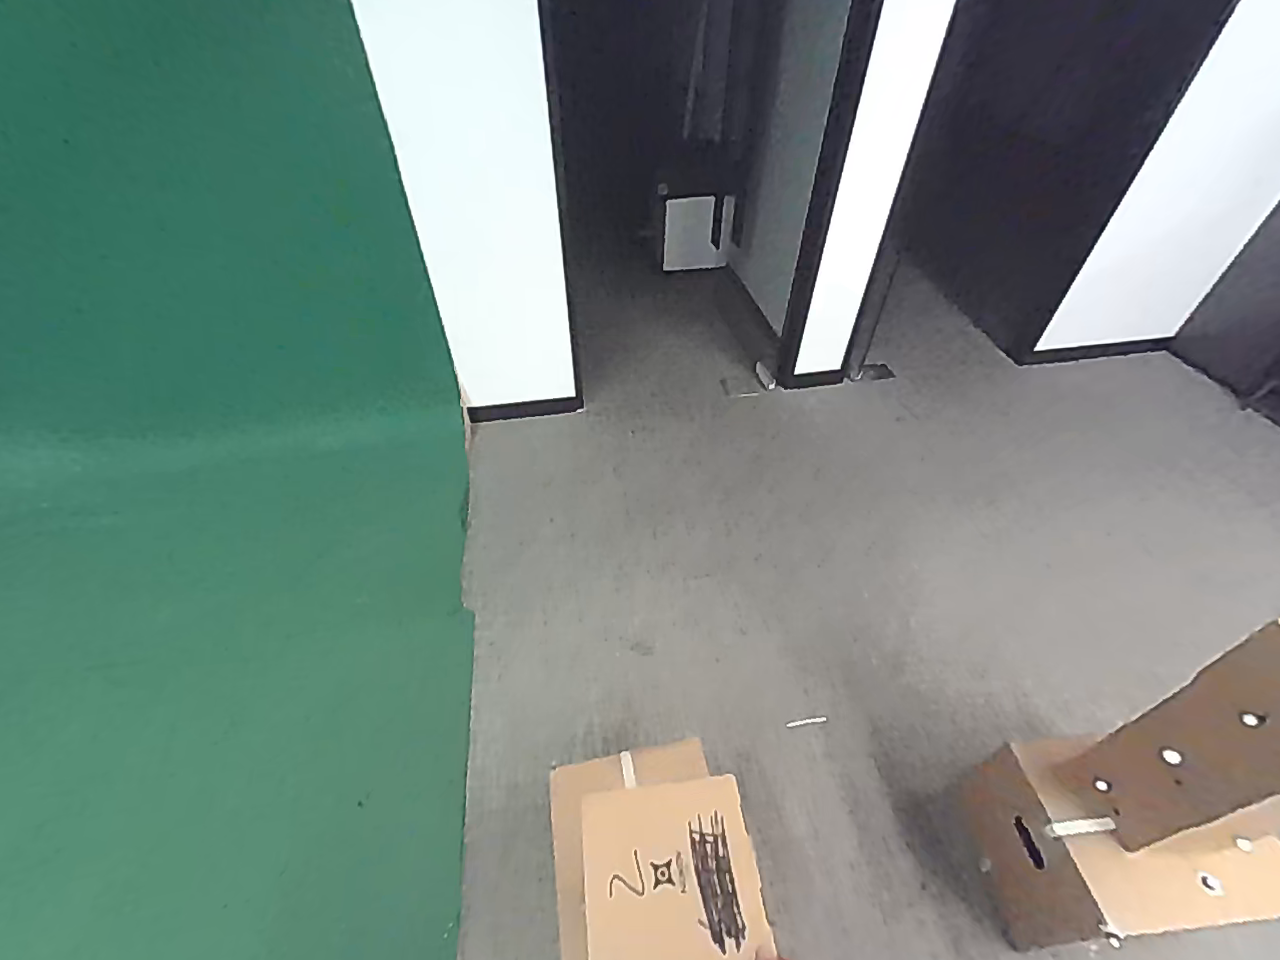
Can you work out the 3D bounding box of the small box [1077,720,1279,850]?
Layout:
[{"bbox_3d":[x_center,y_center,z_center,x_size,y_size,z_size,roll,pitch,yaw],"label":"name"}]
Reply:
[{"bbox_3d":[0.953,0.546,0.969,0.179,0.176,0.168,-1,43,-1],"label":"small box"}]

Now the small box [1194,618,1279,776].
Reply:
[{"bbox_3d":[0.954,0.308,0.743,0.168,0.176,0.179,0,43,-1],"label":"small box"}]

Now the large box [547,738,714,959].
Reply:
[{"bbox_3d":[0.006,0.795,1.061,0.320,0.320,0.408,-8,45,-8],"label":"large box"}]

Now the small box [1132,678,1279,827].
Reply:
[{"bbox_3d":[0.956,0.430,0.853,0.179,0.176,0.168,0,43,0],"label":"small box"}]
